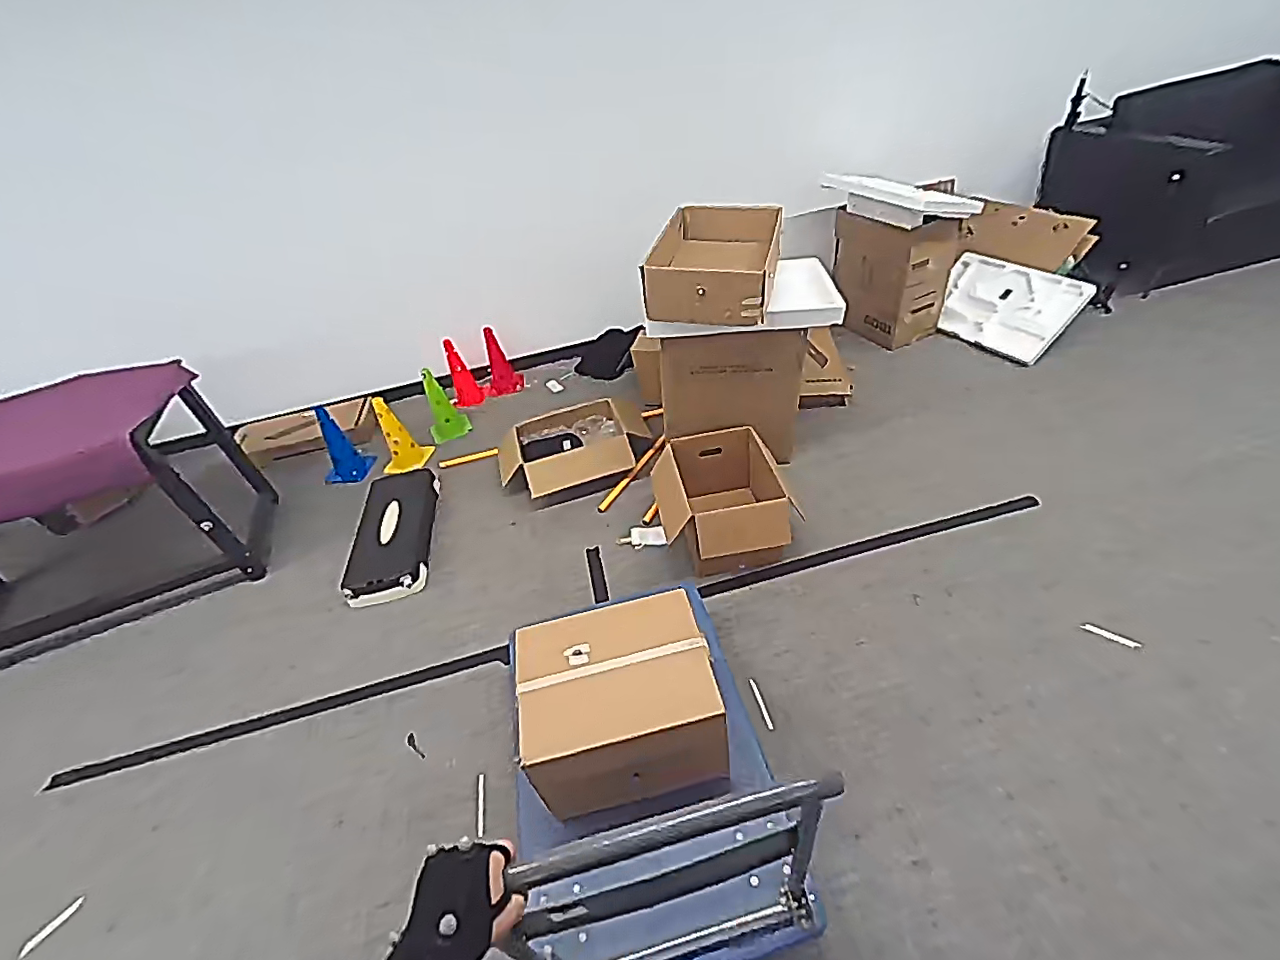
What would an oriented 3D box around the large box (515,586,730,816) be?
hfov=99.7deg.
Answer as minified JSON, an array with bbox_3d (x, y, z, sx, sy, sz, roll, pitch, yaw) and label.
[{"bbox_3d":[-0.039,0.499,1.230,0.408,0.320,0.320,-15,40,-3],"label":"large box"}]
